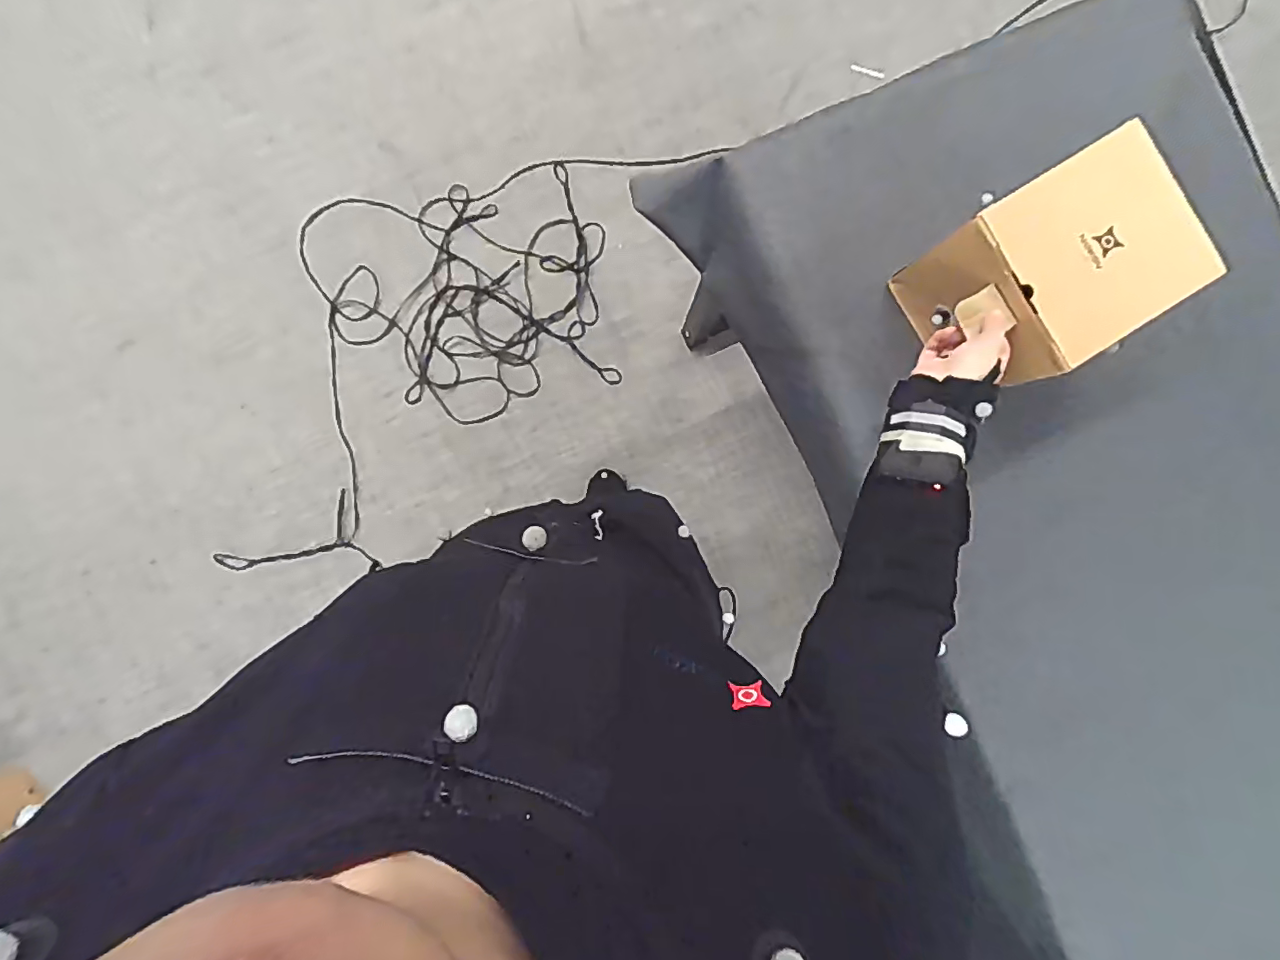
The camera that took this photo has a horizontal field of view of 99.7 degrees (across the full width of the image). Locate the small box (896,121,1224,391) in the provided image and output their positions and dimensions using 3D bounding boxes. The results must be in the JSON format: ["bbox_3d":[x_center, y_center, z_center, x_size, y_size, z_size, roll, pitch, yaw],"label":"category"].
[{"bbox_3d":[0.414,-0.213,0.566,0.179,0.176,0.168,-32,92,-1],"label":"small box"}]
